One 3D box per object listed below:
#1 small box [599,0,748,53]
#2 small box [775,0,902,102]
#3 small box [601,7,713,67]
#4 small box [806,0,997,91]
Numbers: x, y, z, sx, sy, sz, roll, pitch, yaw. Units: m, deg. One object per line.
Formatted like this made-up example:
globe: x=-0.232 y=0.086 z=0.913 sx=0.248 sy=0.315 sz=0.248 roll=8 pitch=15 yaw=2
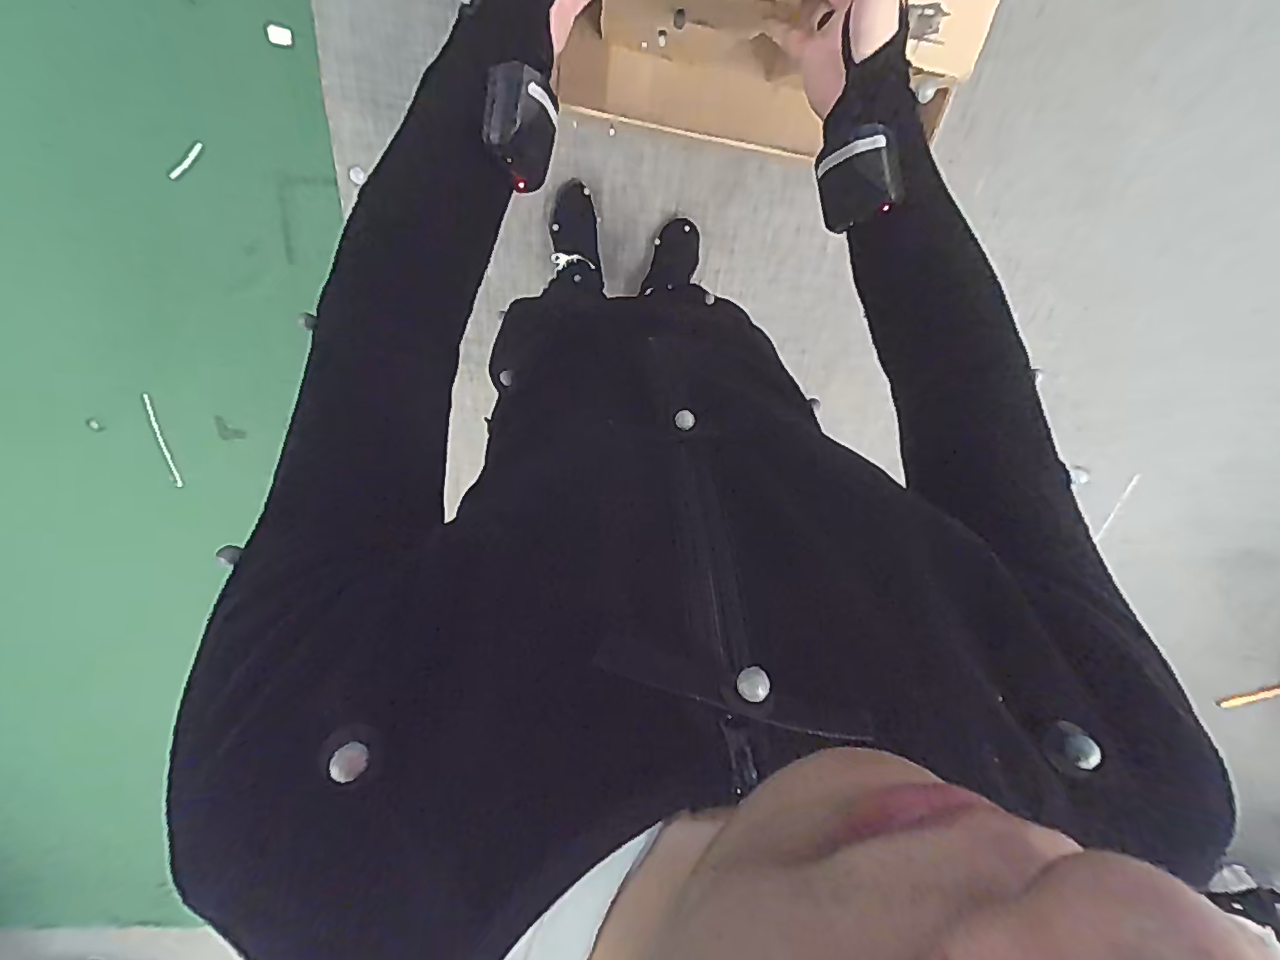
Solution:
small box: x=0.049 y=-0.631 z=0.631 sx=0.168 sy=0.176 sz=0.179 roll=8 pitch=121 yaw=-8
small box: x=0.314 y=-0.685 z=0.805 sx=0.168 sy=0.176 sz=0.179 roll=7 pitch=120 yaw=-7
small box: x=0.041 y=-0.723 z=0.767 sx=0.168 sy=0.176 sz=0.179 roll=10 pitch=120 yaw=-7
small box: x=0.322 y=-0.601 z=0.664 sx=0.168 sy=0.176 sz=0.179 roll=7 pitch=120 yaw=-7
